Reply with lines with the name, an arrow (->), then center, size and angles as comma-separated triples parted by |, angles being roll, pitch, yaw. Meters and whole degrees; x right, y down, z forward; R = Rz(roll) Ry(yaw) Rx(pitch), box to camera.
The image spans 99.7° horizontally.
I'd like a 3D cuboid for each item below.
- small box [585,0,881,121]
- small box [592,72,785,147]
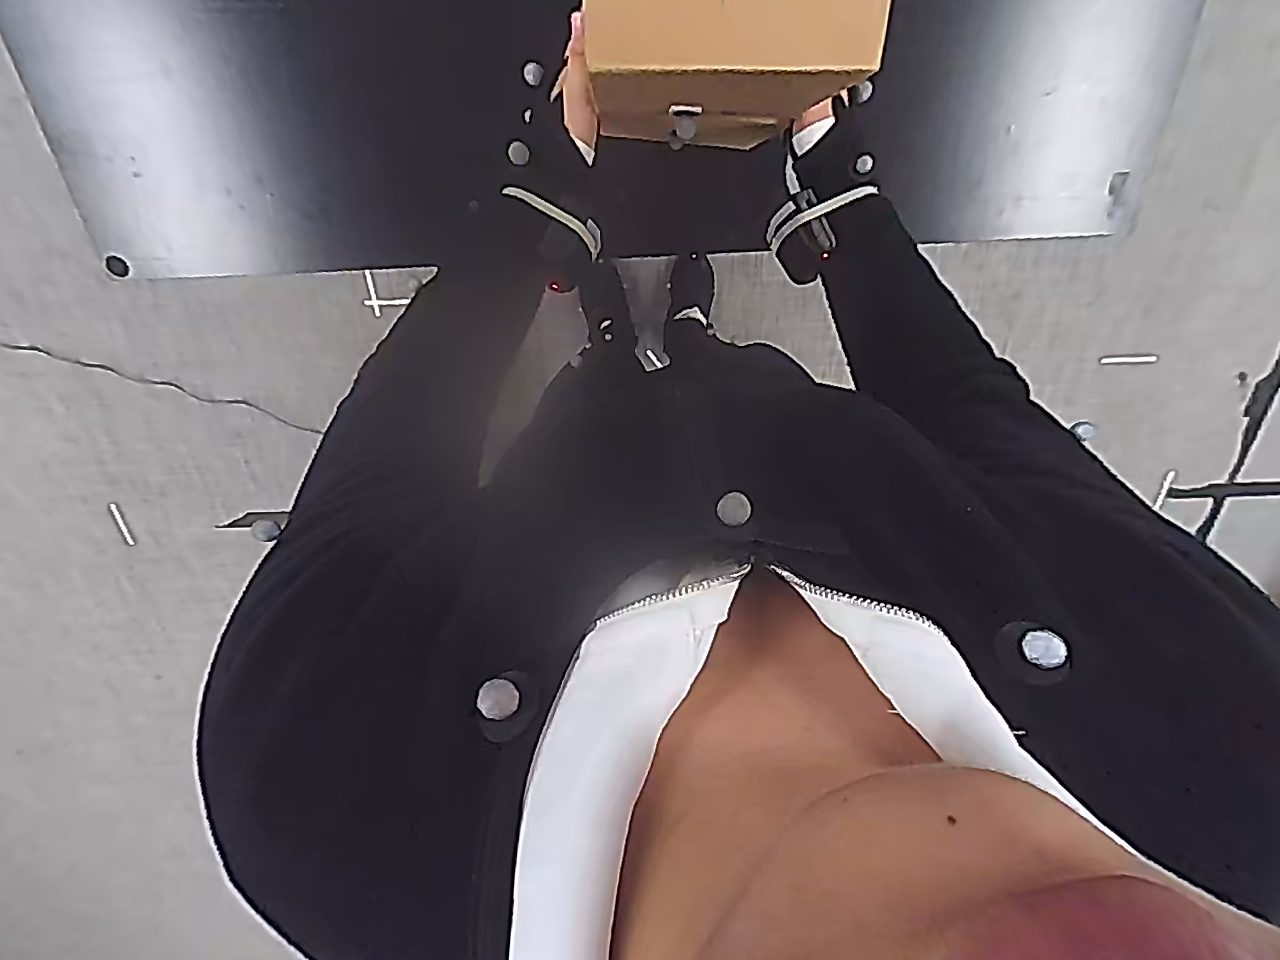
small box -> 0.049, -0.345, 0.343 | 0.168, 0.176, 0.179 | -1, 117, -1
small box -> 0.046, -0.416, 0.489 | 0.168, 0.176, 0.179 | 3, 115, -4
